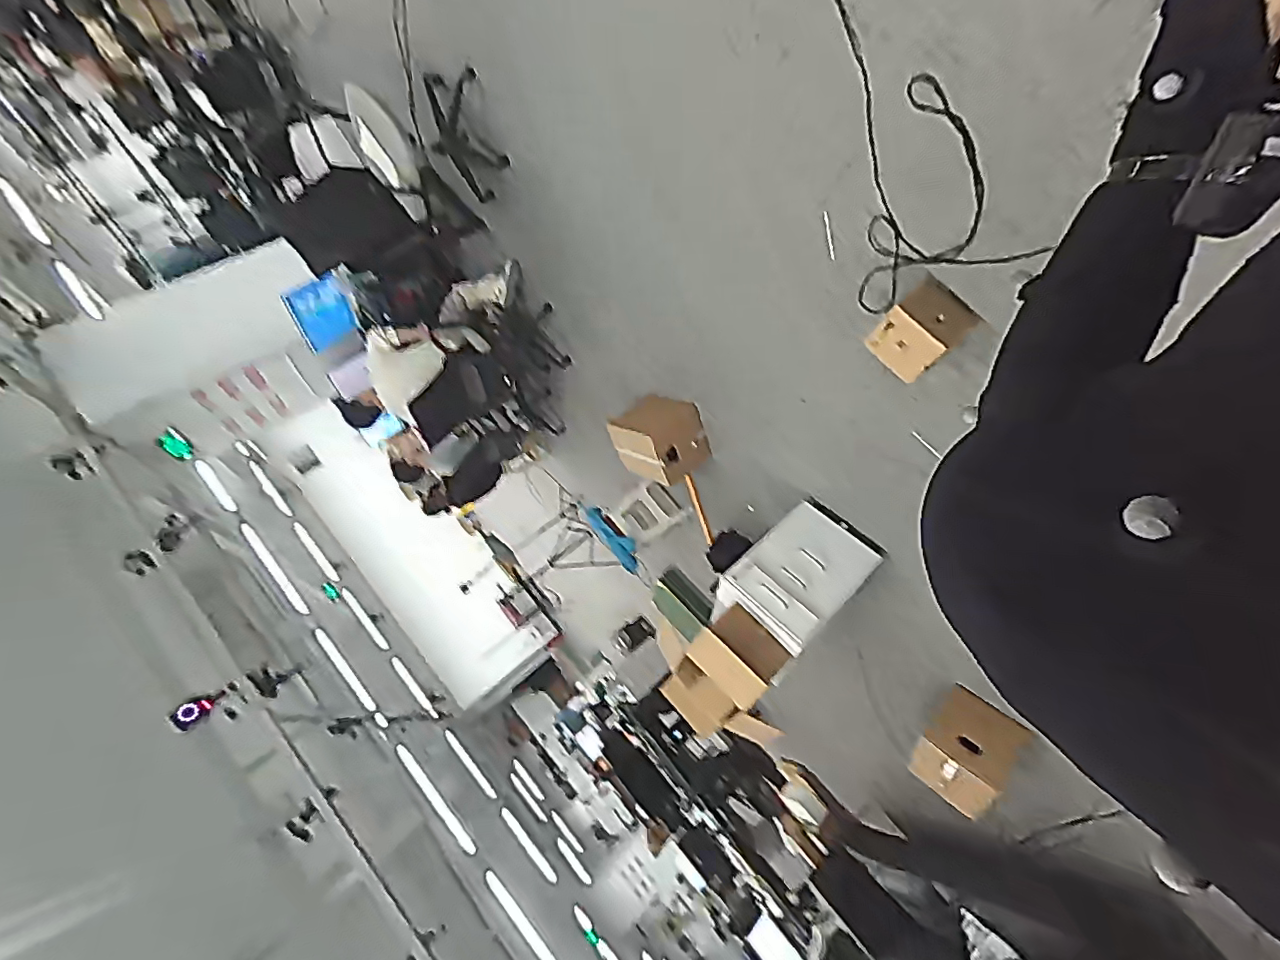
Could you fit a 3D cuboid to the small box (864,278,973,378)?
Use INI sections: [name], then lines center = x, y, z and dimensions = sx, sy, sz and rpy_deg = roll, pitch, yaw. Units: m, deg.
[small box]
center = 0.774, -0.425, 1.502
dimensions = 0.179, 0.176, 0.168
rpy_deg = 46, 156, 11
